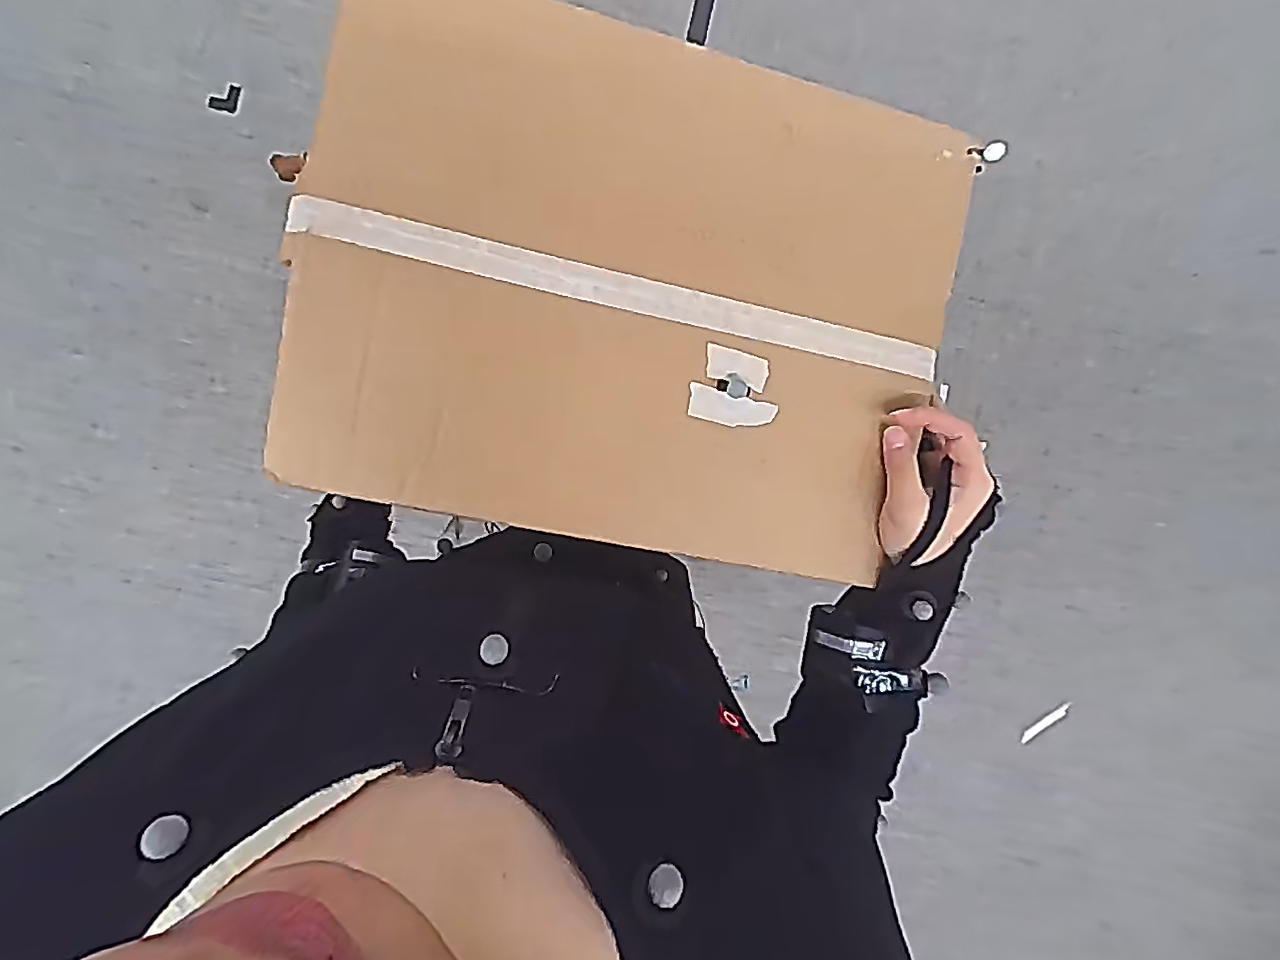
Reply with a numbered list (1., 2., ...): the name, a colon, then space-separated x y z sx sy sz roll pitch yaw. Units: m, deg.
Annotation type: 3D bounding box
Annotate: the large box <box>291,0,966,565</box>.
1. large box: -0.016 -0.131 0.495 0.408 0.320 0.320 11 94 -10
